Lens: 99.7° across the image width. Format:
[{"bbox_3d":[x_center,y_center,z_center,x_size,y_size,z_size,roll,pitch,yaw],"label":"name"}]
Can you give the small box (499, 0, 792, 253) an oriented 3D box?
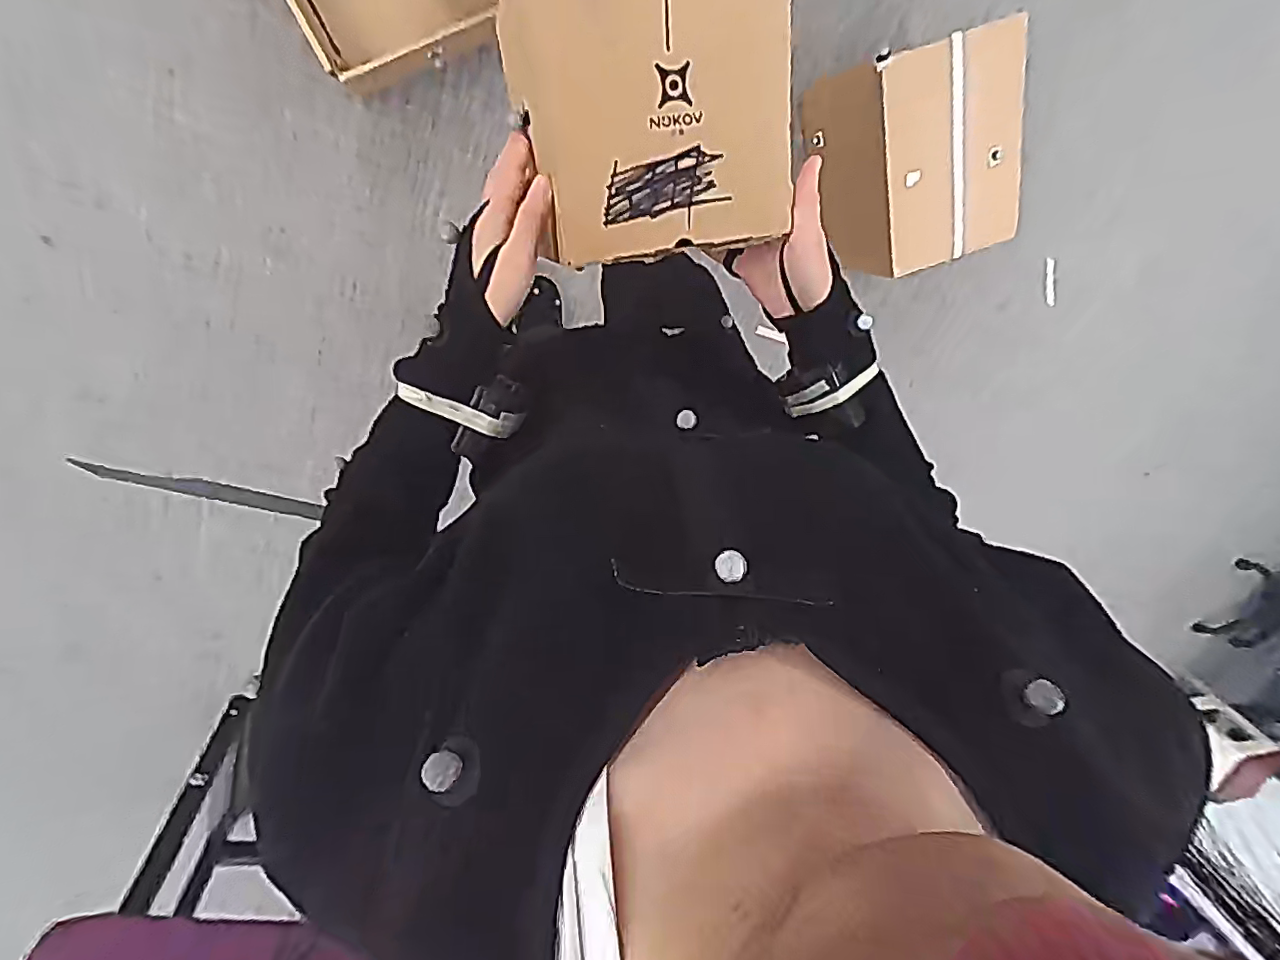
[{"bbox_3d":[-0.003,-0.278,0.405,0.168,0.176,0.179,-14,117,-12],"label":"small box"}]
